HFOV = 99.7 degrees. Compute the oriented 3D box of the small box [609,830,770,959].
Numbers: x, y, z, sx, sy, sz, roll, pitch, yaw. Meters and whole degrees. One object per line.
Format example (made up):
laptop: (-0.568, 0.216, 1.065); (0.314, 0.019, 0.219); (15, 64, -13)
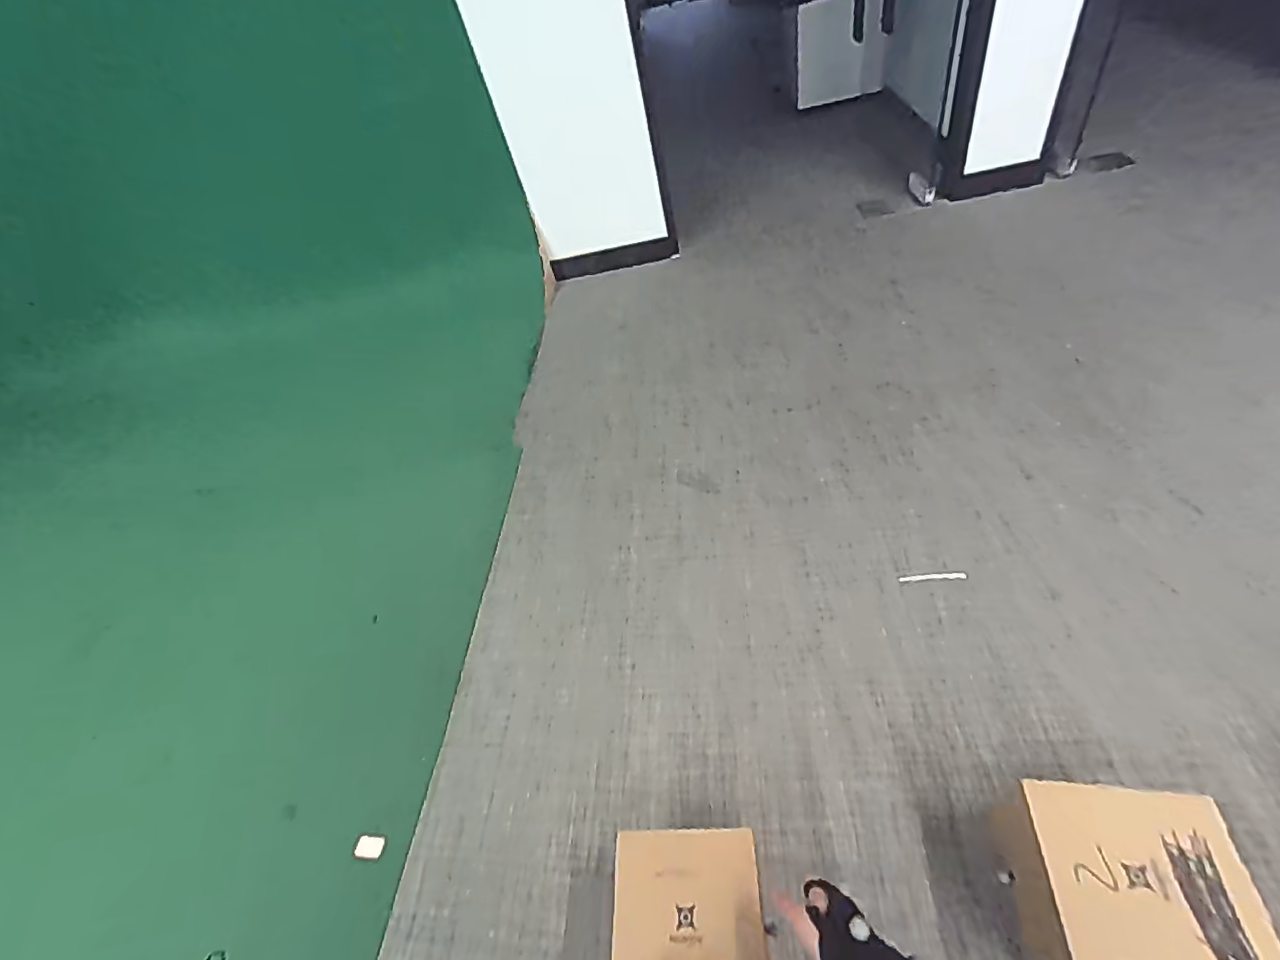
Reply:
small box: (0.065, 0.537, 0.647); (0.168, 0.176, 0.179); (-7, 46, 10)
